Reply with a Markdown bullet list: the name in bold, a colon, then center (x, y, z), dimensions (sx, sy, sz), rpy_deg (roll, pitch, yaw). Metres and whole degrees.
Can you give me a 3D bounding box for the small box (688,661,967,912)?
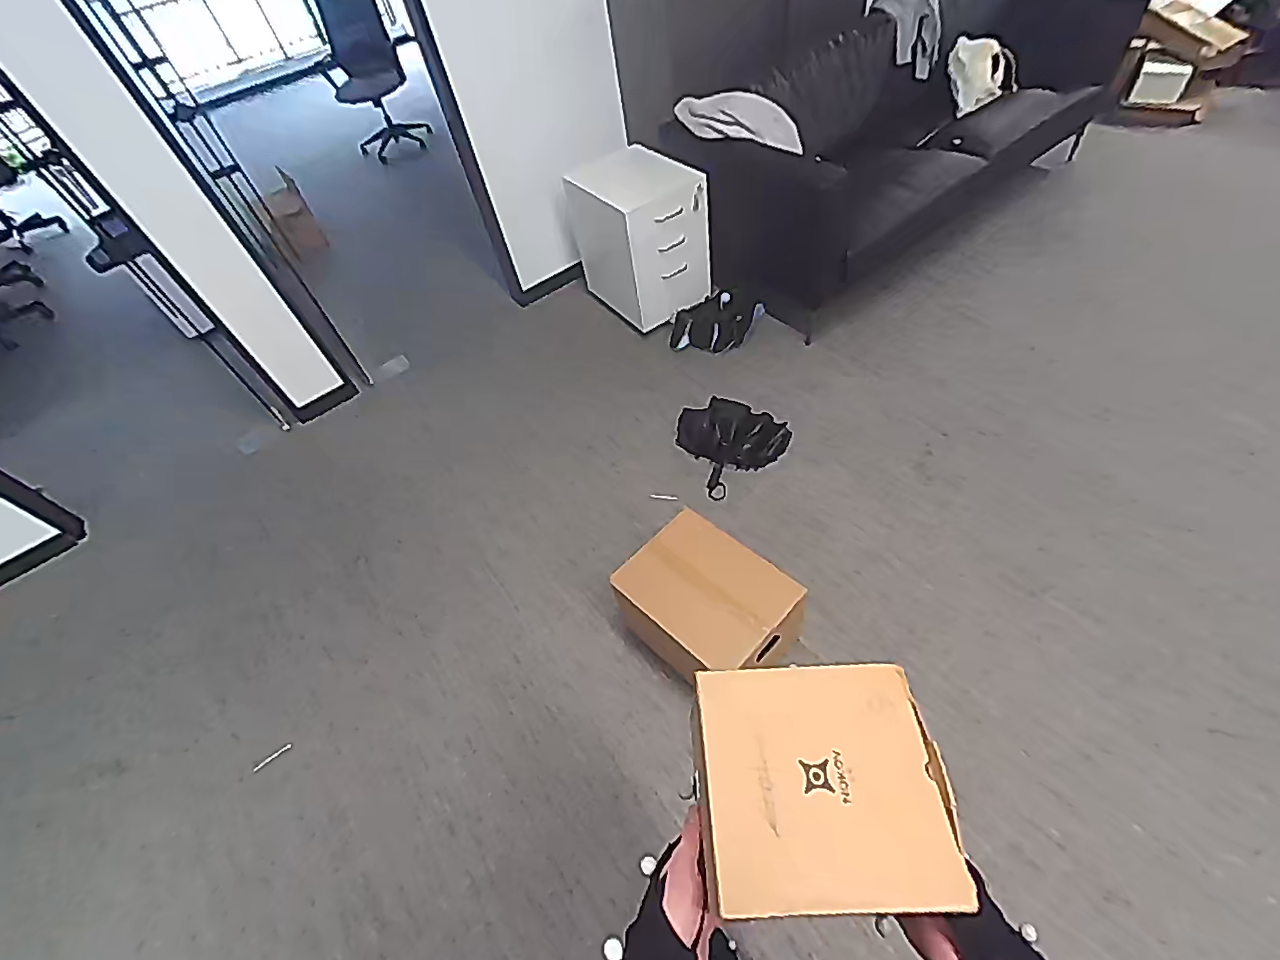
- **small box**: center (0.137, 0.269, 0.475), dimensions (0.179, 0.176, 0.168), rpy_deg (-4, 53, 1)
